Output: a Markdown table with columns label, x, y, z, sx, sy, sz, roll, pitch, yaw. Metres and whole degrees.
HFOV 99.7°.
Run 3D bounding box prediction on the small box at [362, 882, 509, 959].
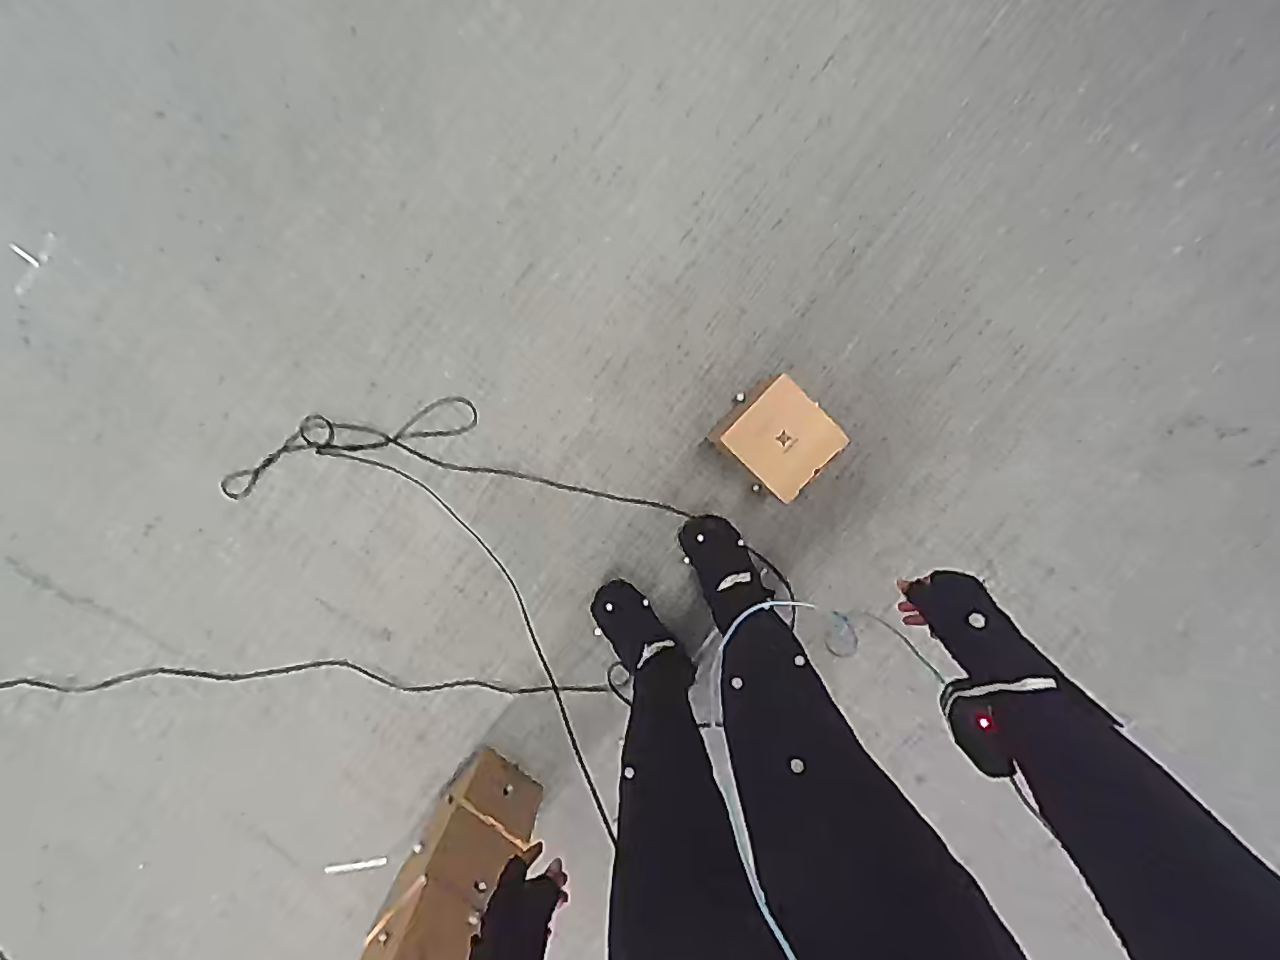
| label | x | y | z | sx | sy | sz | roll | pitch | yaw |
| --- | --- | --- | --- | --- | --- | --- | --- | --- | --- |
| small box | -0.322 | 0.759 | 0.804 | 0.179 | 0.176 | 0.168 | 40 | 96 | -5 |

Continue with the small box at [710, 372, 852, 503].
| label | x | y | z | sx | sy | sz | roll | pitch | yaw |
| --- | --- | --- | --- | --- | --- | --- | --- | --- | --- |
| small box | 0.255 | -0.085 | 1.022 | 0.179 | 0.176 | 0.168 | 44 | 94 | -6 |

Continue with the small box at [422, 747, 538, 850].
| label | x | y | z | sx | sy | sz | roll | pitch | yaw |
| --- | --- | --- | --- | --- | --- | --- | --- | --- | --- |
| small box | -0.329 | 0.703 | 1.126 | 0.168 | 0.176 | 0.179 | 39 | 95 | -5 |

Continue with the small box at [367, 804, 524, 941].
| label | x | y | z | sx | sy | sz | roll | pitch | yaw |
| --- | --- | --- | --- | --- | --- | --- | --- | --- | --- |
| small box | -0.331 | 0.731 | 0.964 | 0.179 | 0.176 | 0.168 | 40 | 96 | -5 |
